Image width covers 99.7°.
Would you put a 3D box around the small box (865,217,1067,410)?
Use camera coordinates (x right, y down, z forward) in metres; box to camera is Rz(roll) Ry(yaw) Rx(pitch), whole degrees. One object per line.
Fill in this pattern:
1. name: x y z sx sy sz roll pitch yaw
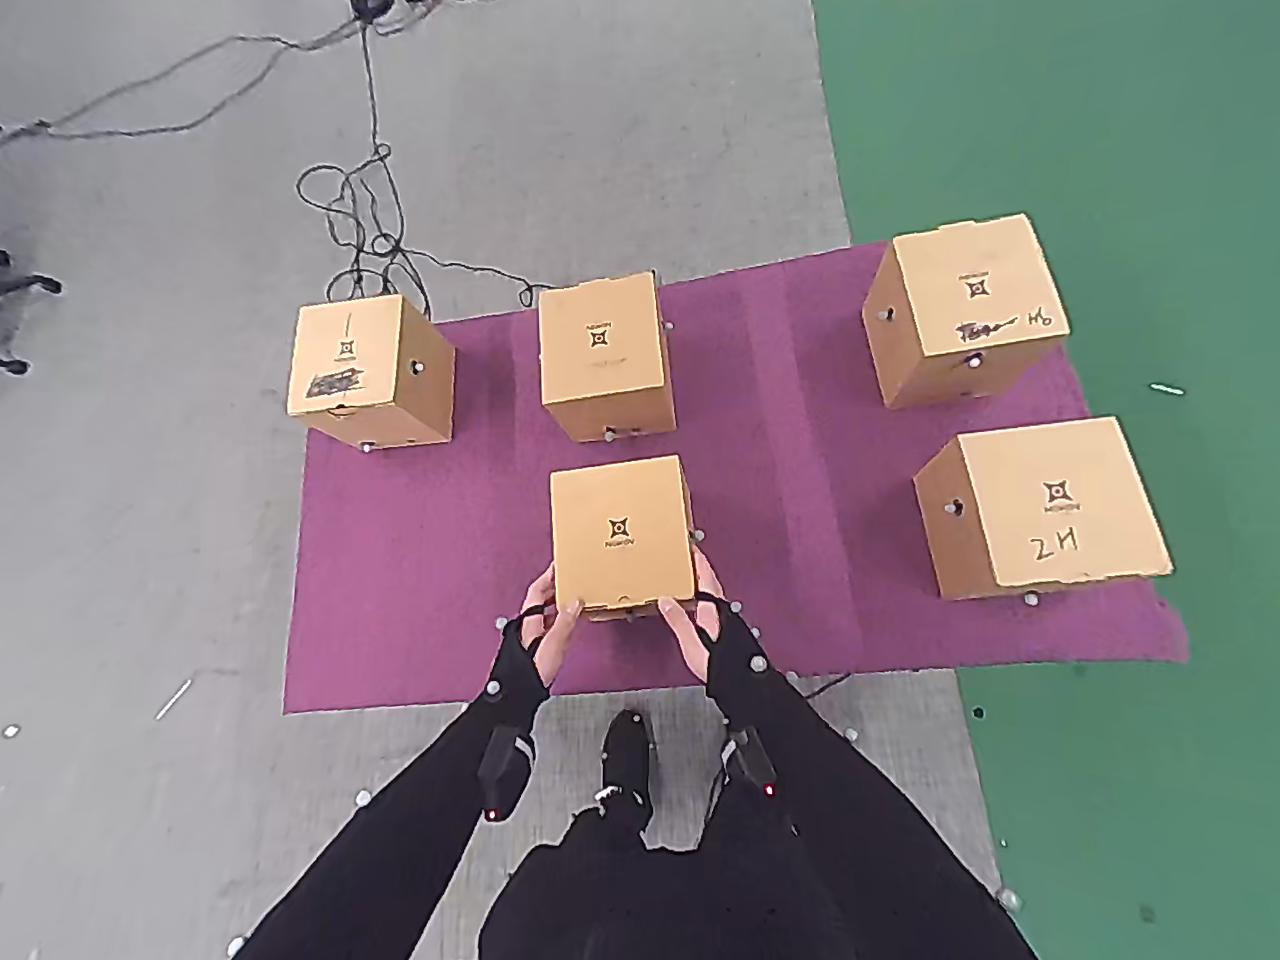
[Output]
1. small box: 0.424 -0.217 0.740 0.168 0.176 0.179 -8 72 8

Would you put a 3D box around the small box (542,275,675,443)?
1. small box: -0.042 -0.171 0.804 0.168 0.176 0.179 -7 74 8

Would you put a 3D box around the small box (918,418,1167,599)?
1. small box: 0.459 0.044 0.655 0.168 0.176 0.179 -6 73 9

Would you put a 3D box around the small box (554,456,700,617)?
1. small box: -0.011 0.084 0.725 0.168 0.176 0.179 -8 73 6

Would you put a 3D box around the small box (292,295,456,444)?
1. small box: -0.406 -0.162 0.855 0.168 0.176 0.179 -5 74 7
